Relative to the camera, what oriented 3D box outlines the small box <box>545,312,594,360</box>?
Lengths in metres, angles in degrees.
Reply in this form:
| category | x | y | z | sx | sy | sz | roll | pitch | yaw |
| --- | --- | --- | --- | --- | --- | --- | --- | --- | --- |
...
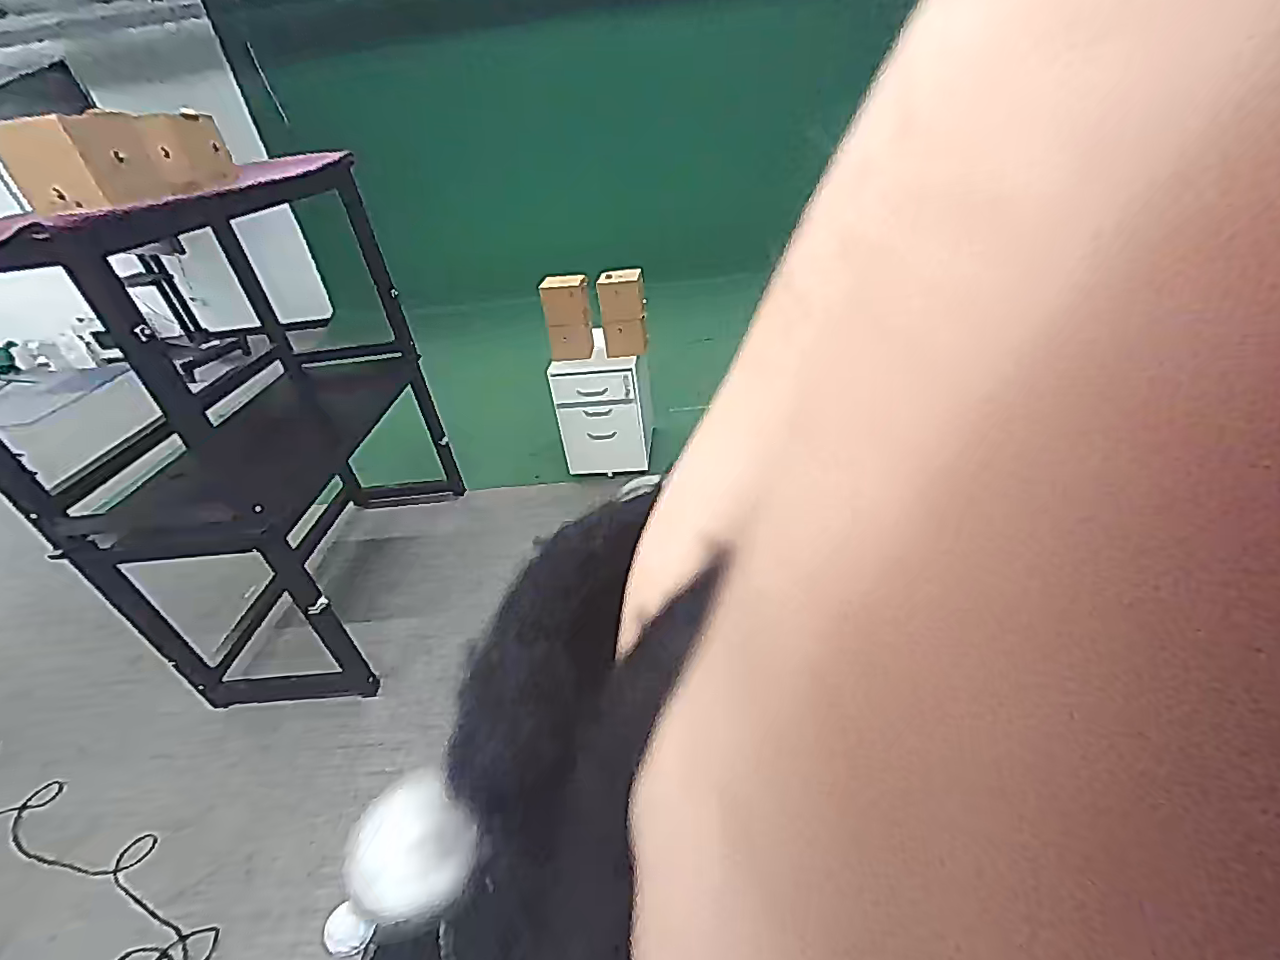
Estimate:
| category | x | y | z | sx | sy | sz | roll | pitch | yaw |
| --- | --- | --- | --- | --- | --- | --- | --- | --- | --- |
| small box | -0.319 | -0.659 | 2.475 | 0.179 | 0.176 | 0.168 | -3 | 36 | 6 |

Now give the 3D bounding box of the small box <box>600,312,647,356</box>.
| category | x | y | z | sx | sy | sz | roll | pitch | yaw |
| --- | --- | --- | --- | --- | --- | --- | --- | --- | --- |
| small box | -0.072 | -0.667 | 2.436 | 0.179 | 0.176 | 0.168 | -2 | 36 | 9 |

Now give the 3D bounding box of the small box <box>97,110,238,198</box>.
| category | x | y | z | sx | sy | sz | roll | pitch | yaw |
| --- | --- | --- | --- | --- | --- | --- | --- | --- | --- |
| small box | -1.187 | -0.832 | 1.378 | 0.179 | 0.176 | 0.168 | -5 | 34 | 5 |

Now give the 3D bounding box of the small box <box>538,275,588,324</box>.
| category | x | y | z | sx | sy | sz | roll | pitch | yaw |
| --- | --- | --- | --- | --- | --- | --- | --- | --- | --- |
| small box | -0.335 | -0.793 | 2.382 | 0.179 | 0.176 | 0.168 | -1 | 35 | 6 |

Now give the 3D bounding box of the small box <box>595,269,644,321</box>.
| category | x | y | z | sx | sy | sz | roll | pitch | yaw |
| --- | --- | --- | --- | --- | --- | --- | --- | --- | --- |
| small box | -0.085 | -0.797 | 2.336 | 0.179 | 0.176 | 0.168 | -2 | 36 | 9 |
